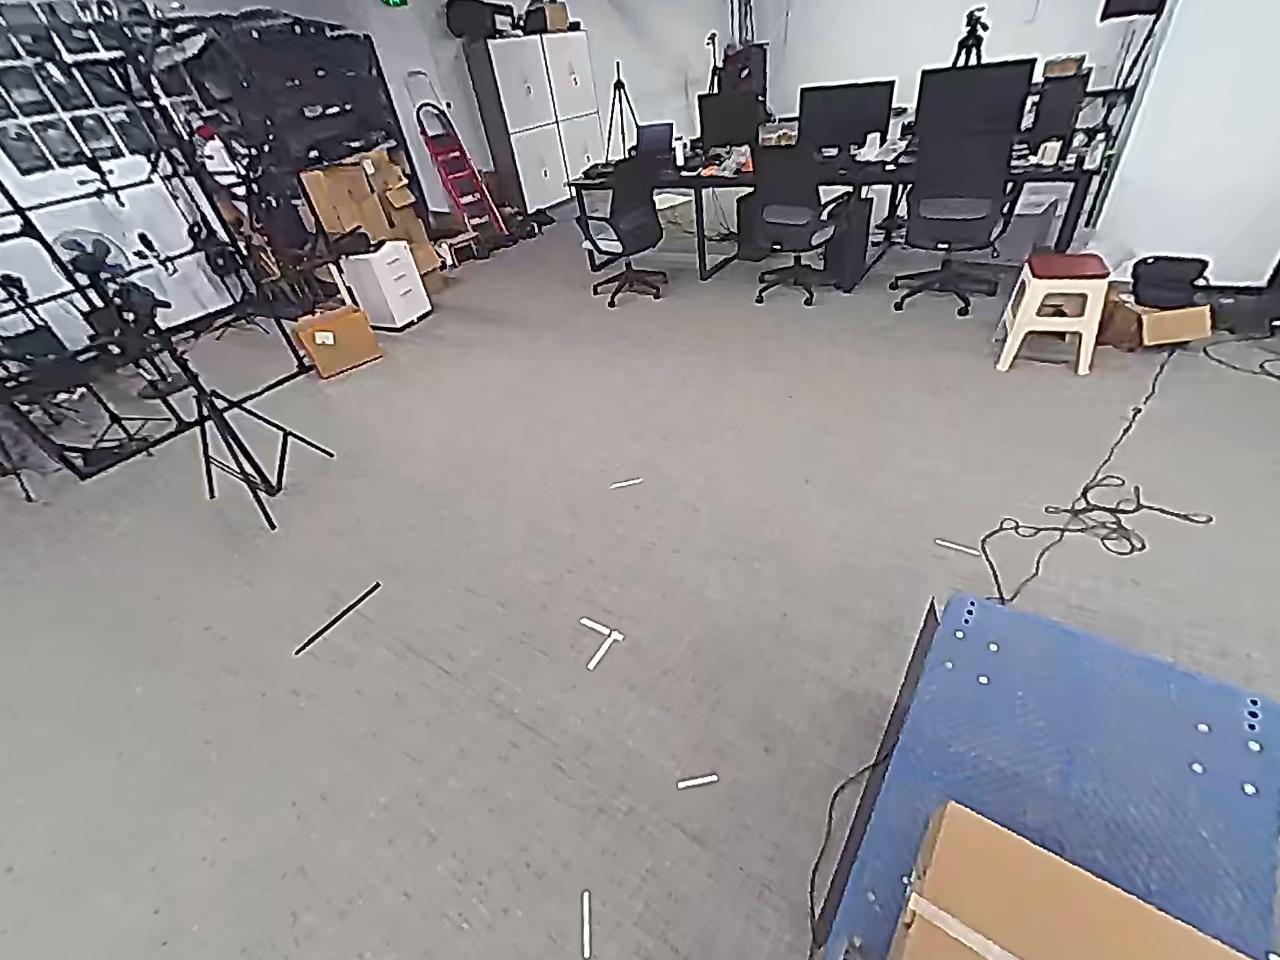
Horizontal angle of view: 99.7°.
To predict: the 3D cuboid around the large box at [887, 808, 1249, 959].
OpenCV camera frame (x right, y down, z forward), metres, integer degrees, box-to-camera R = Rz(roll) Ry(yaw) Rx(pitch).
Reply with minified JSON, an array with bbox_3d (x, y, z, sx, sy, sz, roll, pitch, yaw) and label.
[{"bbox_3d":[0.625,0.778,0.827,0.408,0.320,0.320,19,65,31],"label":"large box"}]
